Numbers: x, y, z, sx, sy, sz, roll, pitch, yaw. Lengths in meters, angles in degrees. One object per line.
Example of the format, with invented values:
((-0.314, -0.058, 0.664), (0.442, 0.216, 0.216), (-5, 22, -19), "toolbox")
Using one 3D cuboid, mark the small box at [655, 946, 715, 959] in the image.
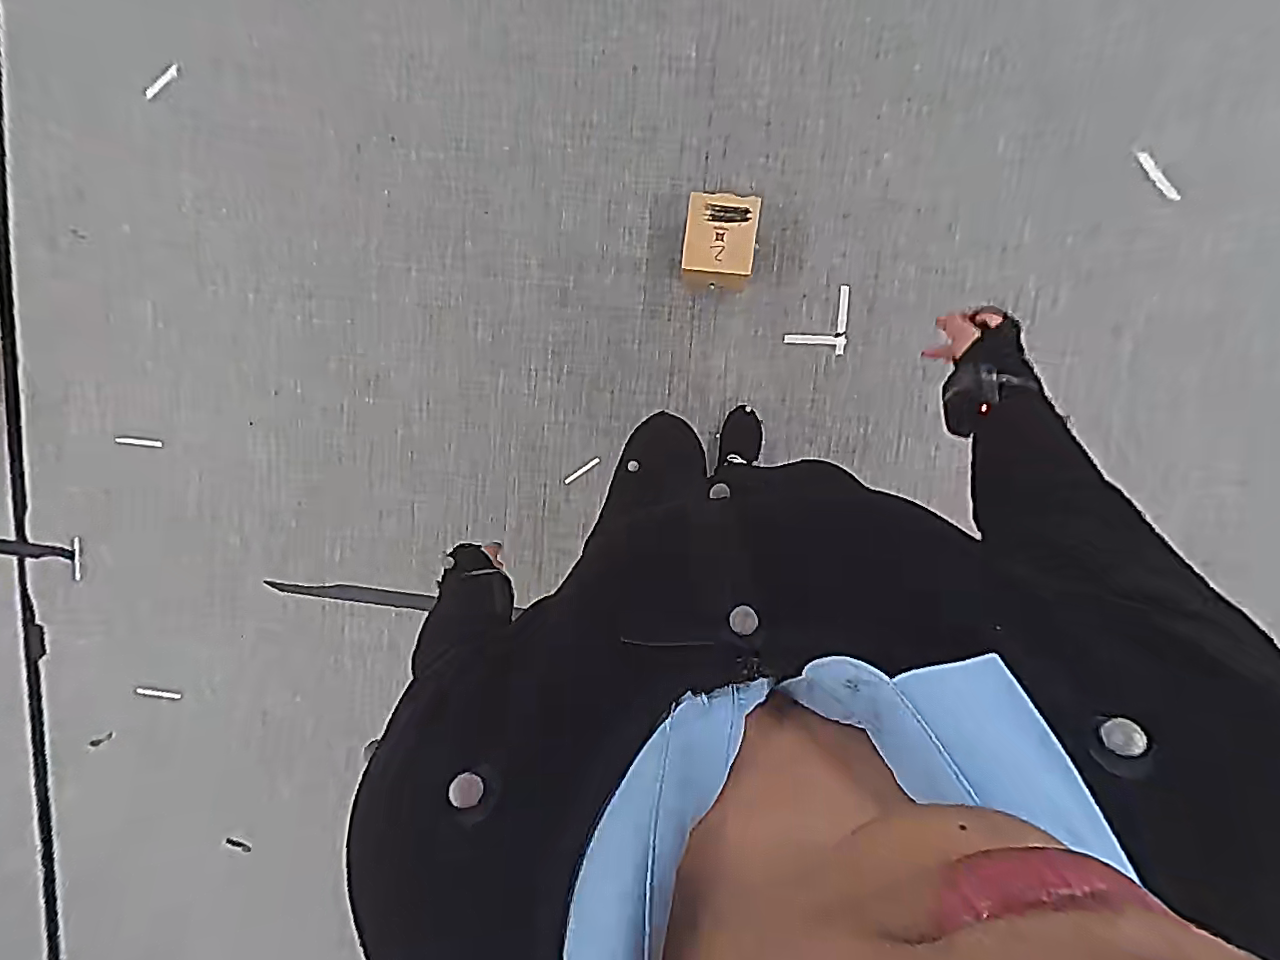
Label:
((0.115, 1.350, 1.374), (0.168, 0.176, 0.179), (1, 96, 6), "small box")
